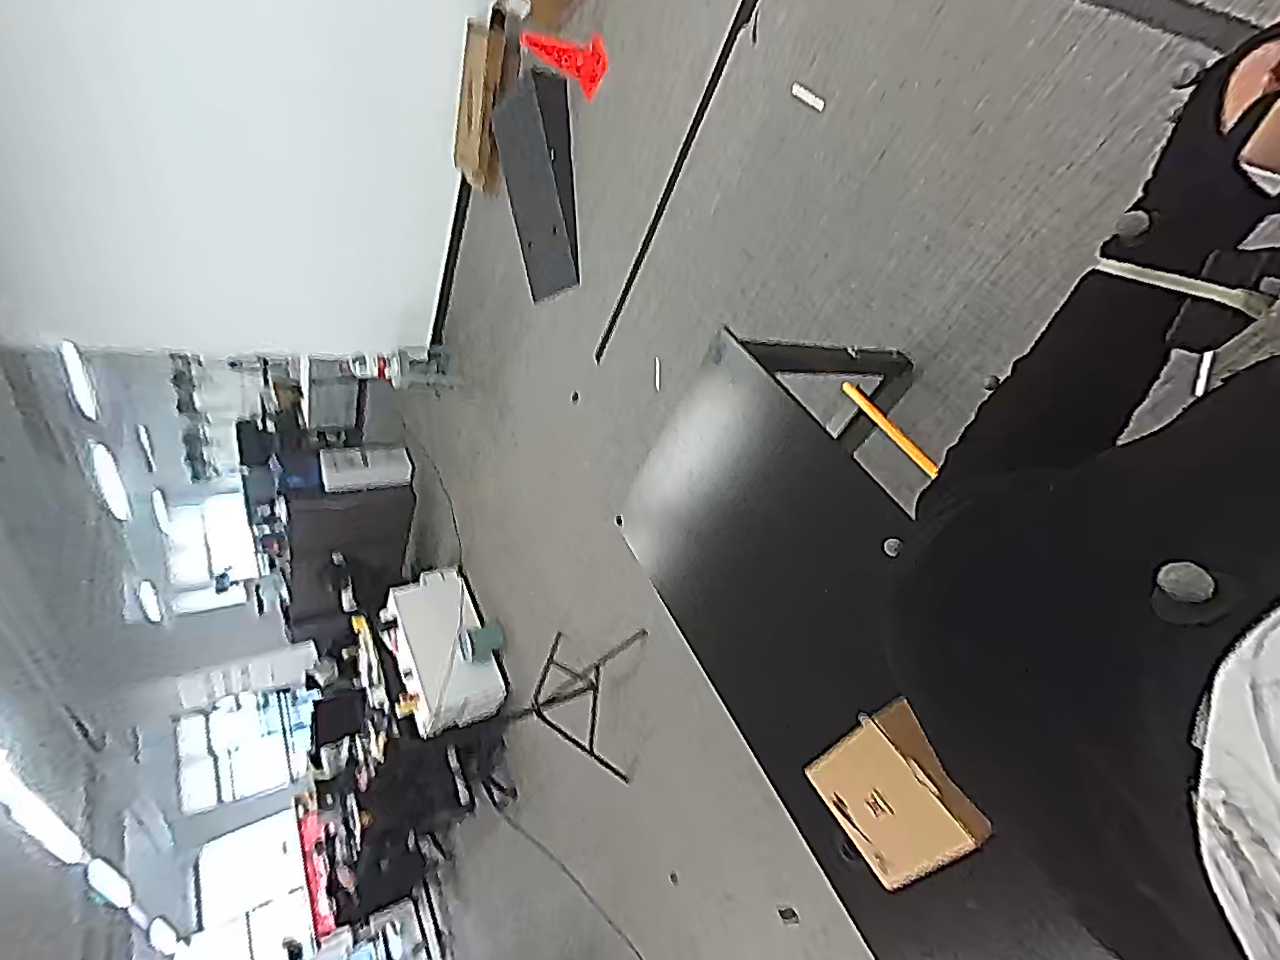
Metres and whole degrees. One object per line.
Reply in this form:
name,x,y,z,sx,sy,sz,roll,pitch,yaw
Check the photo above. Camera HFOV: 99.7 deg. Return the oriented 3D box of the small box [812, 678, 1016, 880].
small box,0.392,0.414,0.771,0.168,0.176,0.179,53,134,33
